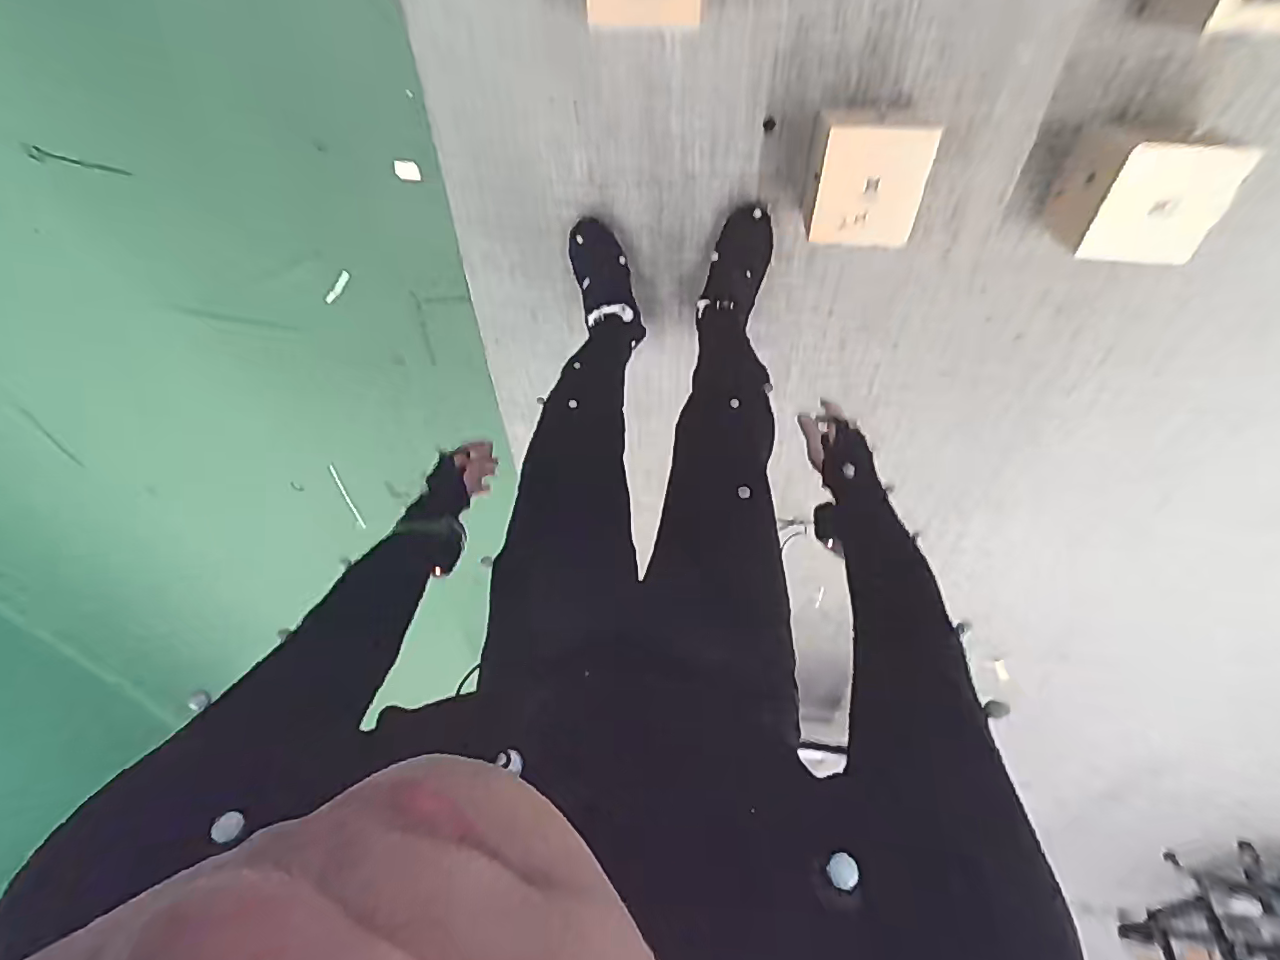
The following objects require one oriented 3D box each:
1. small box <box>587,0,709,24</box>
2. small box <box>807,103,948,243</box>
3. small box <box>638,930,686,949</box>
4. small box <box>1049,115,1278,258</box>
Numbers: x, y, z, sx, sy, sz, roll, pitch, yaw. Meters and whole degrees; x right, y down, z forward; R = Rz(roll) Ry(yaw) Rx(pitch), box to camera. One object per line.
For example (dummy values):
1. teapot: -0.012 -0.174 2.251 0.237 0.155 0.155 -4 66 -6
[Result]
1. small box: 0.019 -0.767 0.765 0.168 0.176 0.179 7 134 6
2. small box: 0.385 -0.523 0.915 0.168 0.176 0.179 6 134 7
3. small box: 0.085 1.541 1.928 0.168 0.176 0.179 4 134 8
4. small box: 0.815 -0.476 0.872 0.179 0.176 0.168 5 134 6
